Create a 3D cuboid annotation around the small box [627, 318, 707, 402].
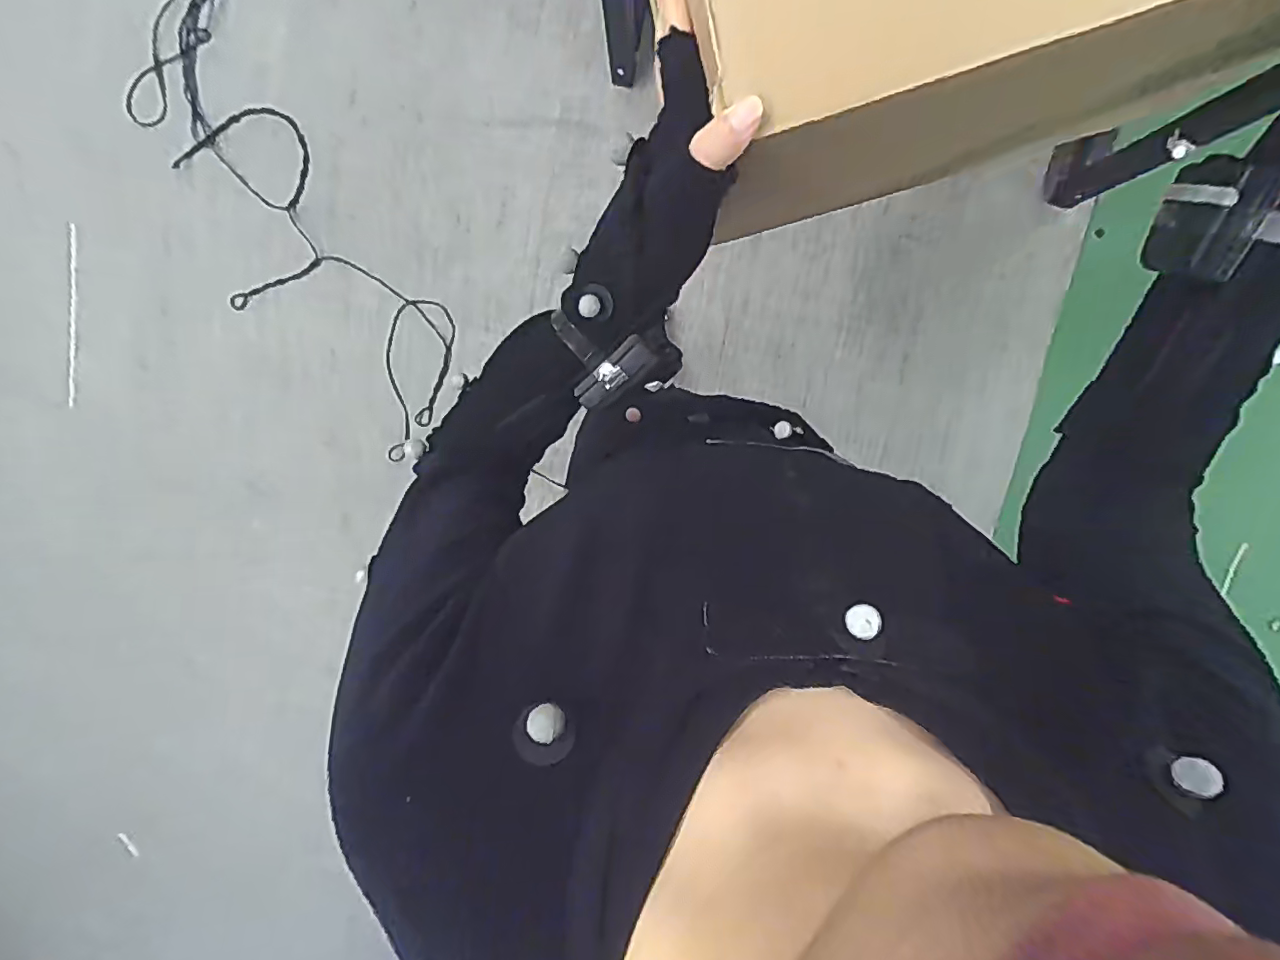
[{"bbox_3d":[0.060,-0.303,1.352,0.168,0.176,0.179,2,111,-8],"label":"small box"}]
